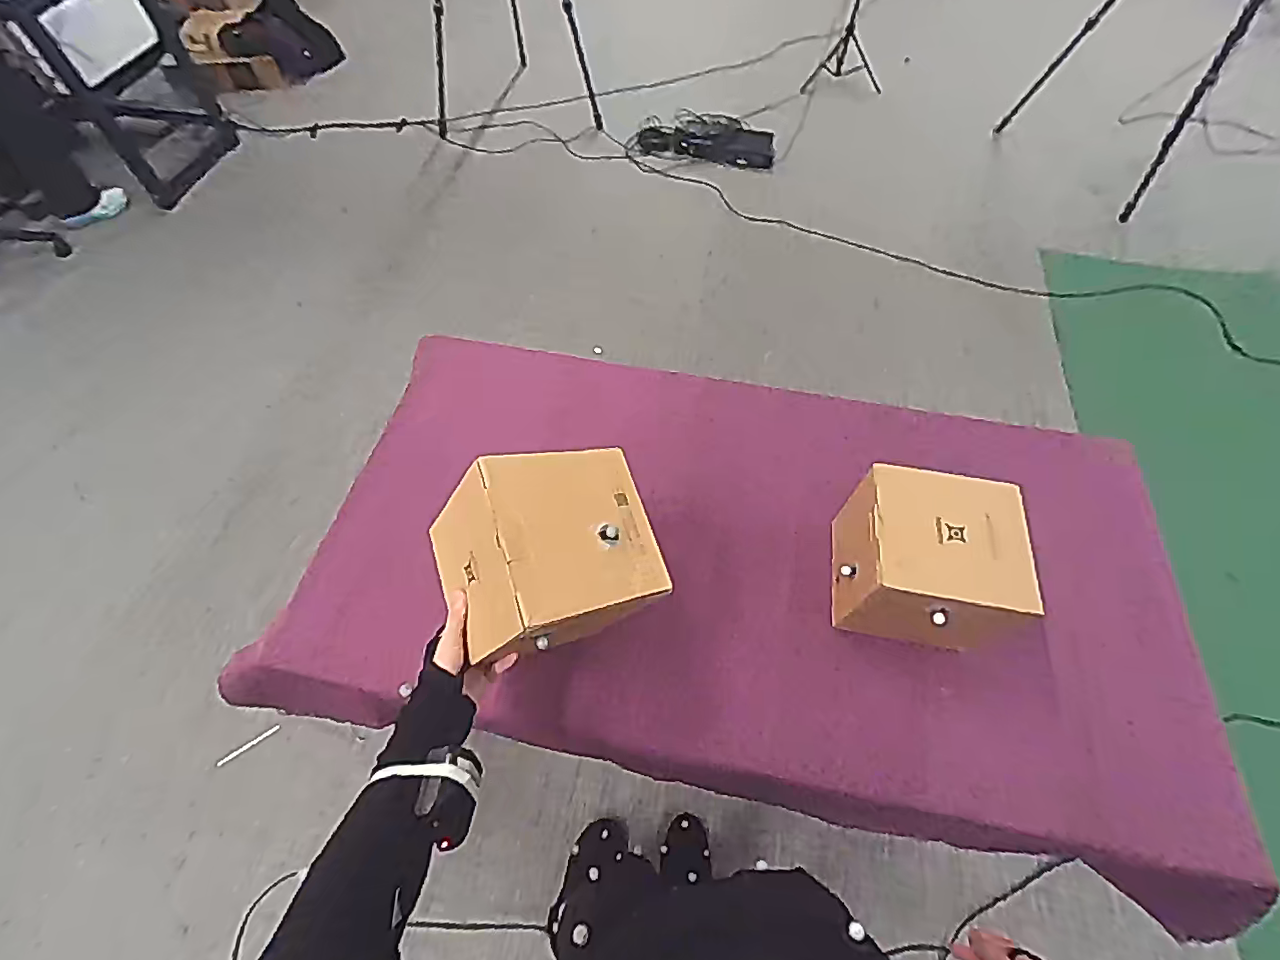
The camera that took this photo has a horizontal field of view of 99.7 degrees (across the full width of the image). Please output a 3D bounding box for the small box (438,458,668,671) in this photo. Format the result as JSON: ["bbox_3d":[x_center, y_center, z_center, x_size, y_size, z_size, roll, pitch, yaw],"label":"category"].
[{"bbox_3d":[-0.099,0.088,0.588,0.176,0.179,0.168,-5,64,-39],"label":"small box"}]

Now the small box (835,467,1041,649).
[{"bbox_3d":[0.360,0.106,0.694,0.179,0.176,0.168,9,59,5],"label":"small box"}]
